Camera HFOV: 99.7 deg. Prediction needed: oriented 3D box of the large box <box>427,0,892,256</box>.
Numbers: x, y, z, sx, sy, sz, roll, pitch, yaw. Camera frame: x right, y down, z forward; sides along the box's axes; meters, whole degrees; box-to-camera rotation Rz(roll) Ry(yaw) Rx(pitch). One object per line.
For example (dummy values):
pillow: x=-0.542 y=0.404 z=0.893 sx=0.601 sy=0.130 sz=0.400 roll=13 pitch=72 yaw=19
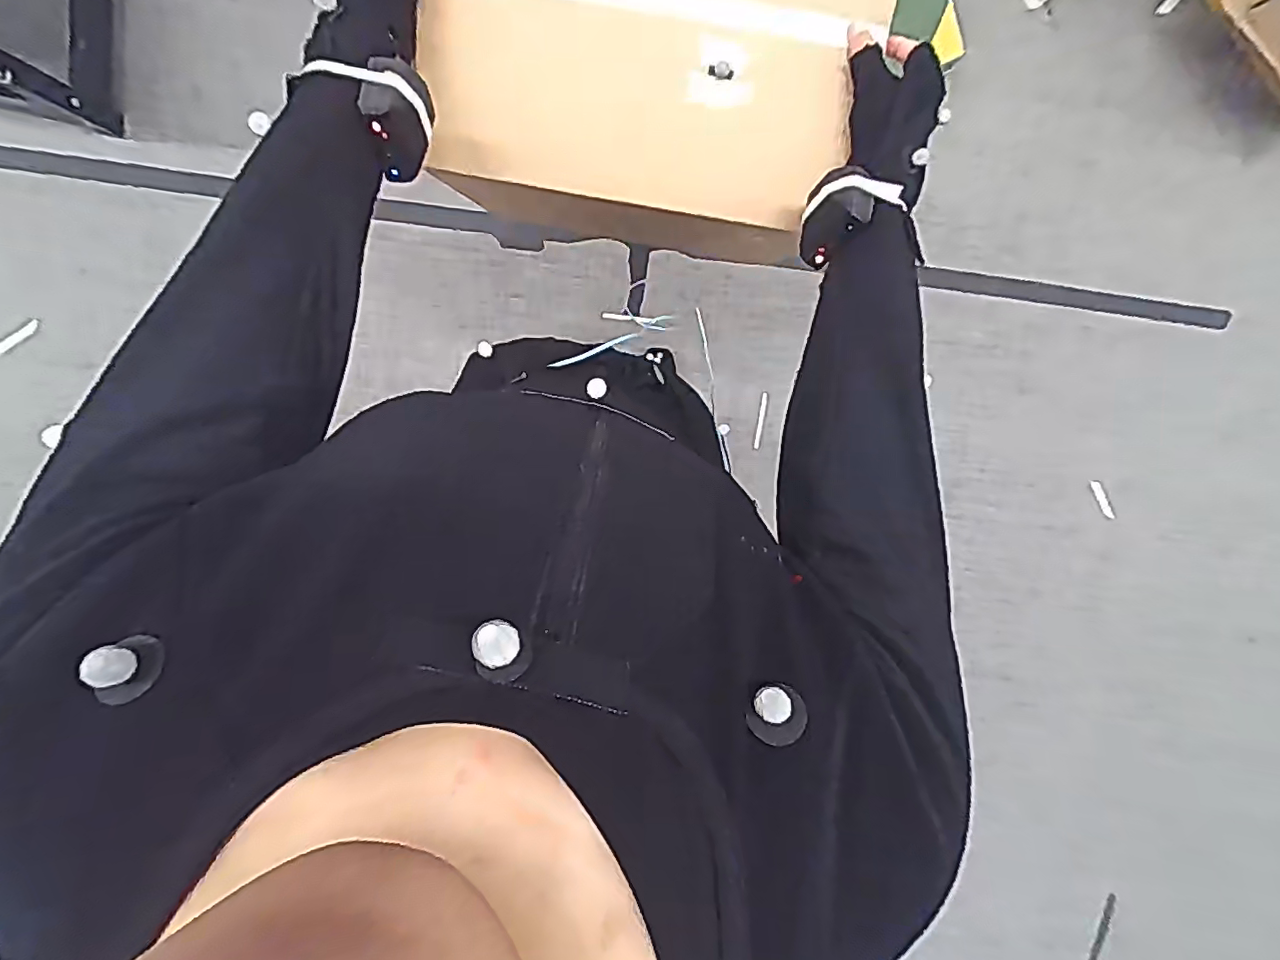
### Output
large box: x=0.015 y=-0.459 z=0.611 sx=0.408 sy=0.320 sz=0.320 roll=9 pitch=108 yaw=-4
